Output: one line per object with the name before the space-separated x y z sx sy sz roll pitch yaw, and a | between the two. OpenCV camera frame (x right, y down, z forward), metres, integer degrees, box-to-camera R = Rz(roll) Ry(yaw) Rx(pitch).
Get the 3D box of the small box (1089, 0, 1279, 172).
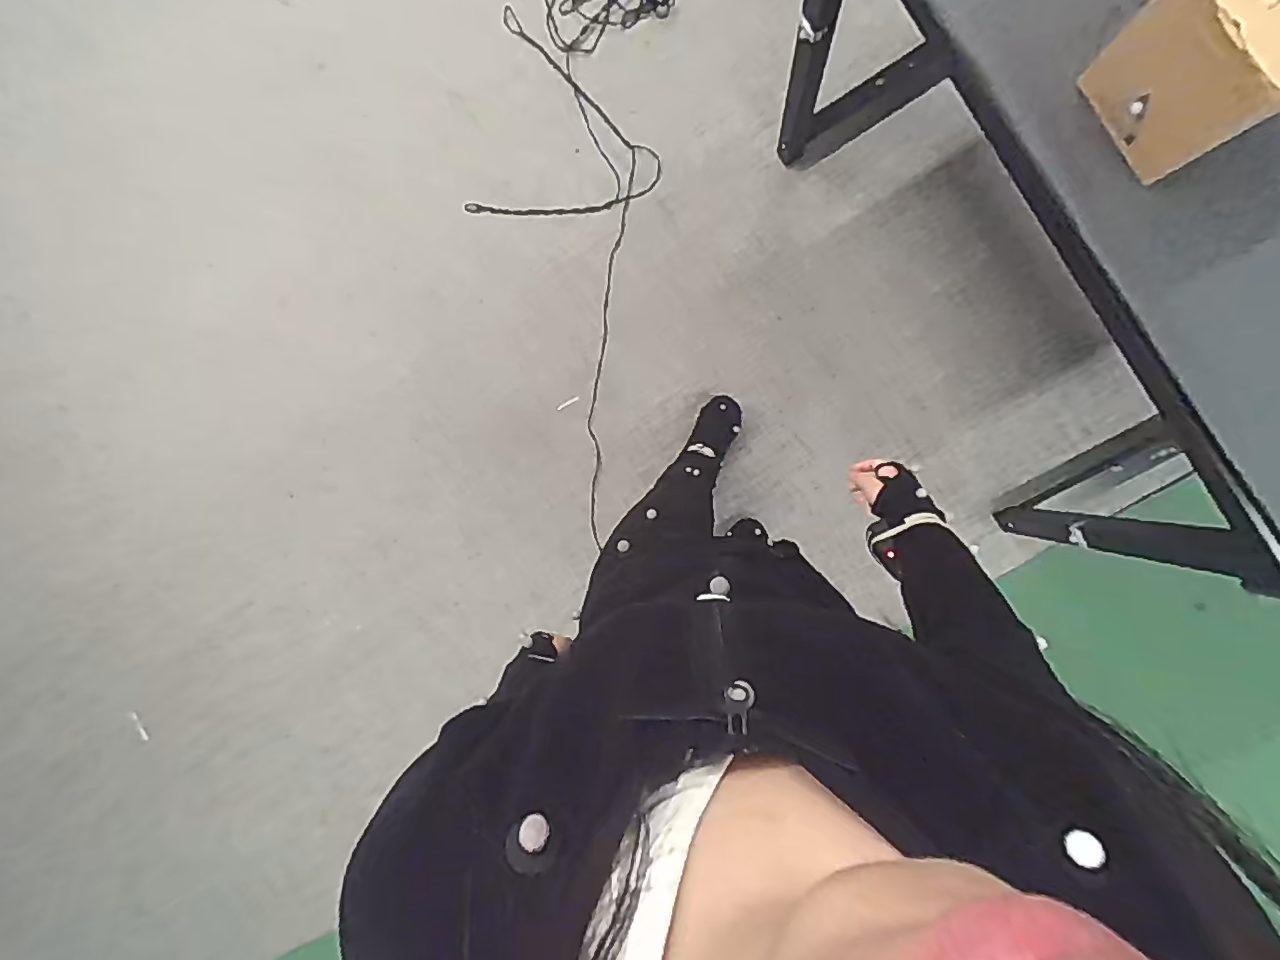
small box | 0.662 -0.488 0.588 0.179 0.176 0.168 -29 86 7
